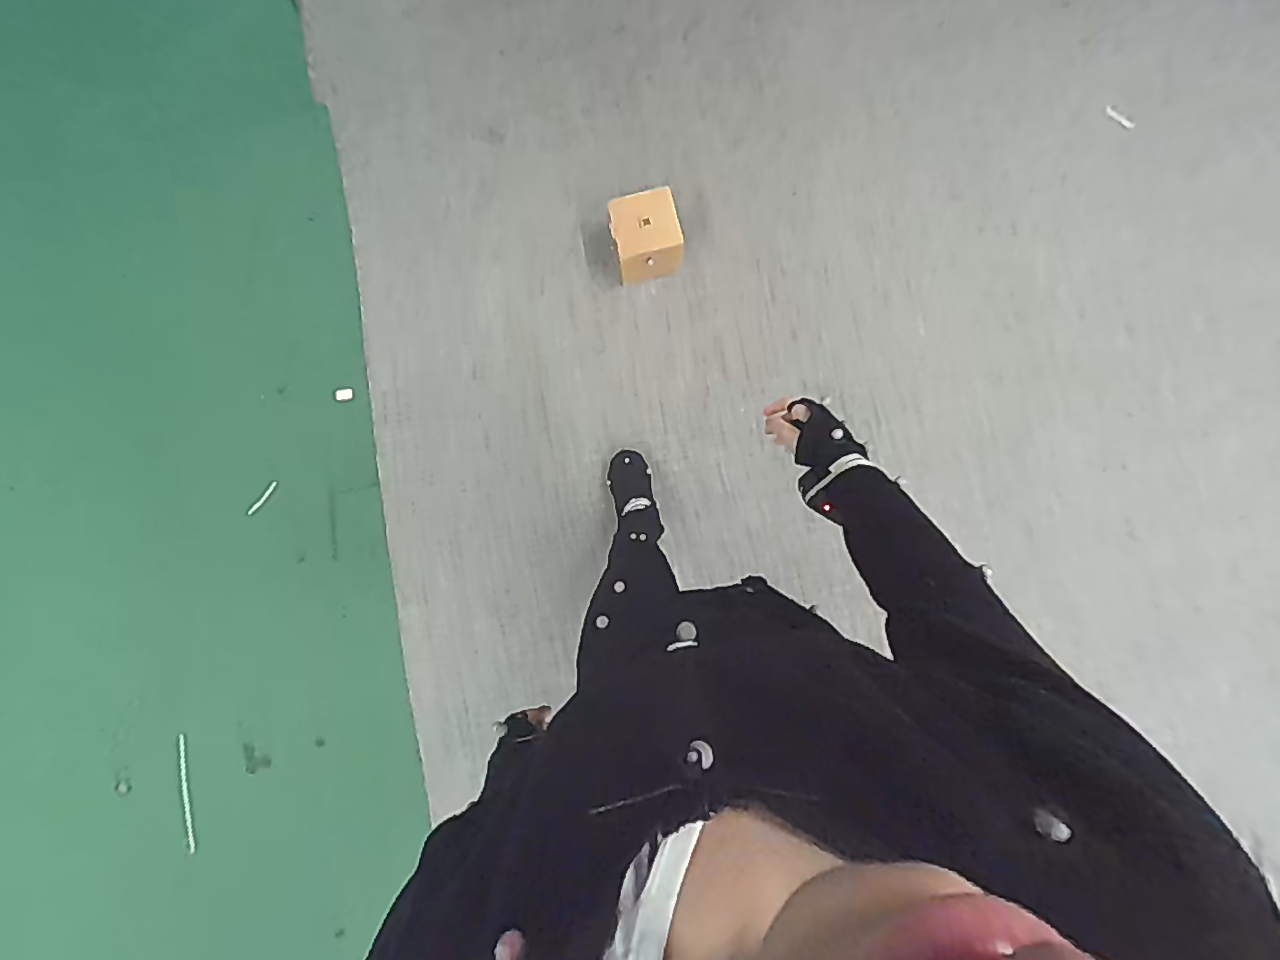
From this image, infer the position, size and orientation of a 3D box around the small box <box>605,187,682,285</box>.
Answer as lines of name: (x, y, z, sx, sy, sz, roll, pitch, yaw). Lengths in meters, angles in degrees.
small box: (0.010, -0.667, 1.494, 0.179, 0.176, 0.168, -14, 86, 1)
